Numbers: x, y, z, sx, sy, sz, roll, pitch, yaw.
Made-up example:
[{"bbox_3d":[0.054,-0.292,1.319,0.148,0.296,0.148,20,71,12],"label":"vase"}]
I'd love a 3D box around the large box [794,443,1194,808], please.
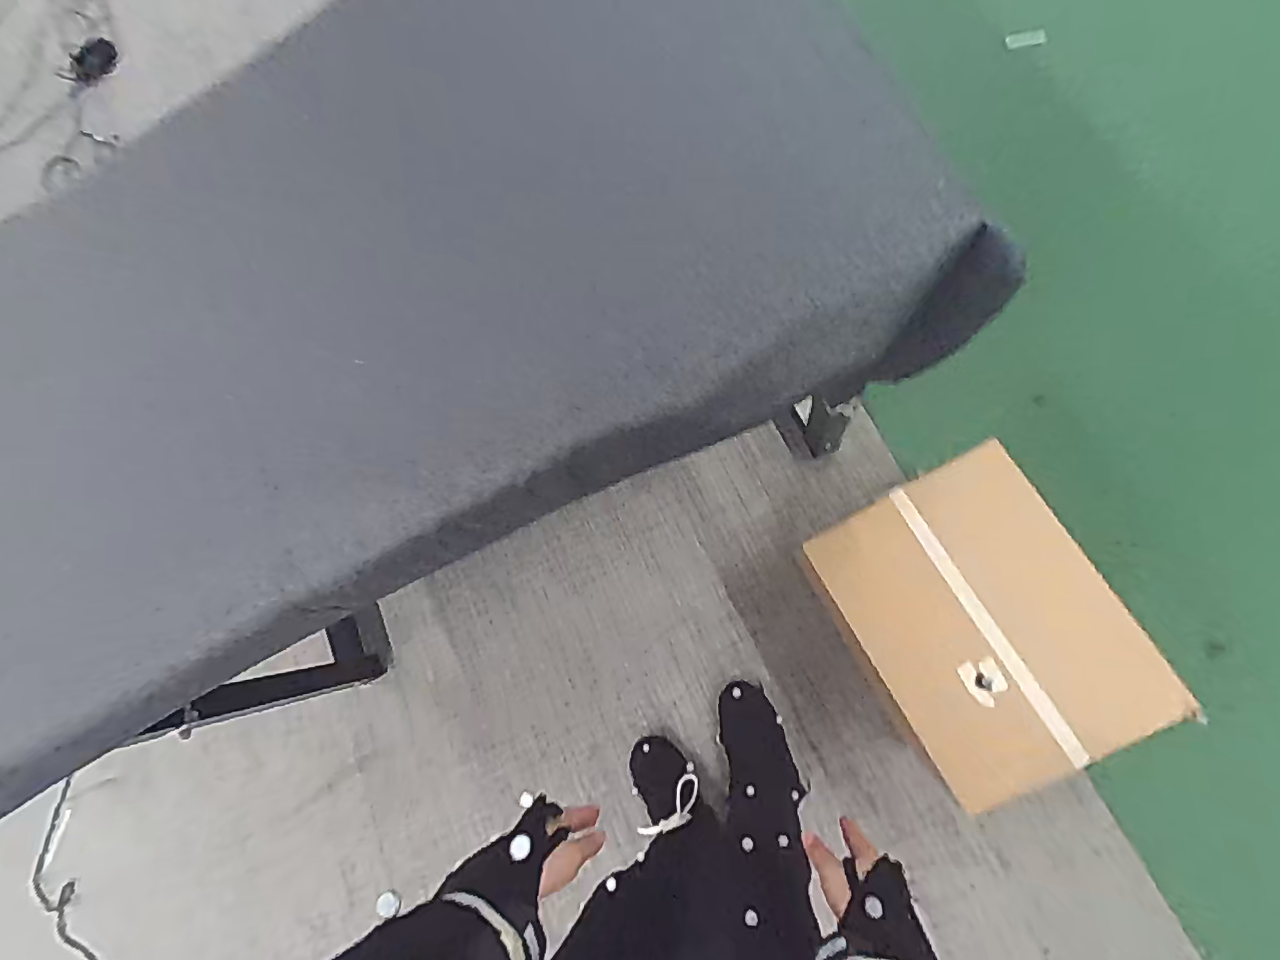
[{"bbox_3d":[0.498,0.212,0.880,0.320,0.320,0.408,-31,74,7],"label":"large box"}]
